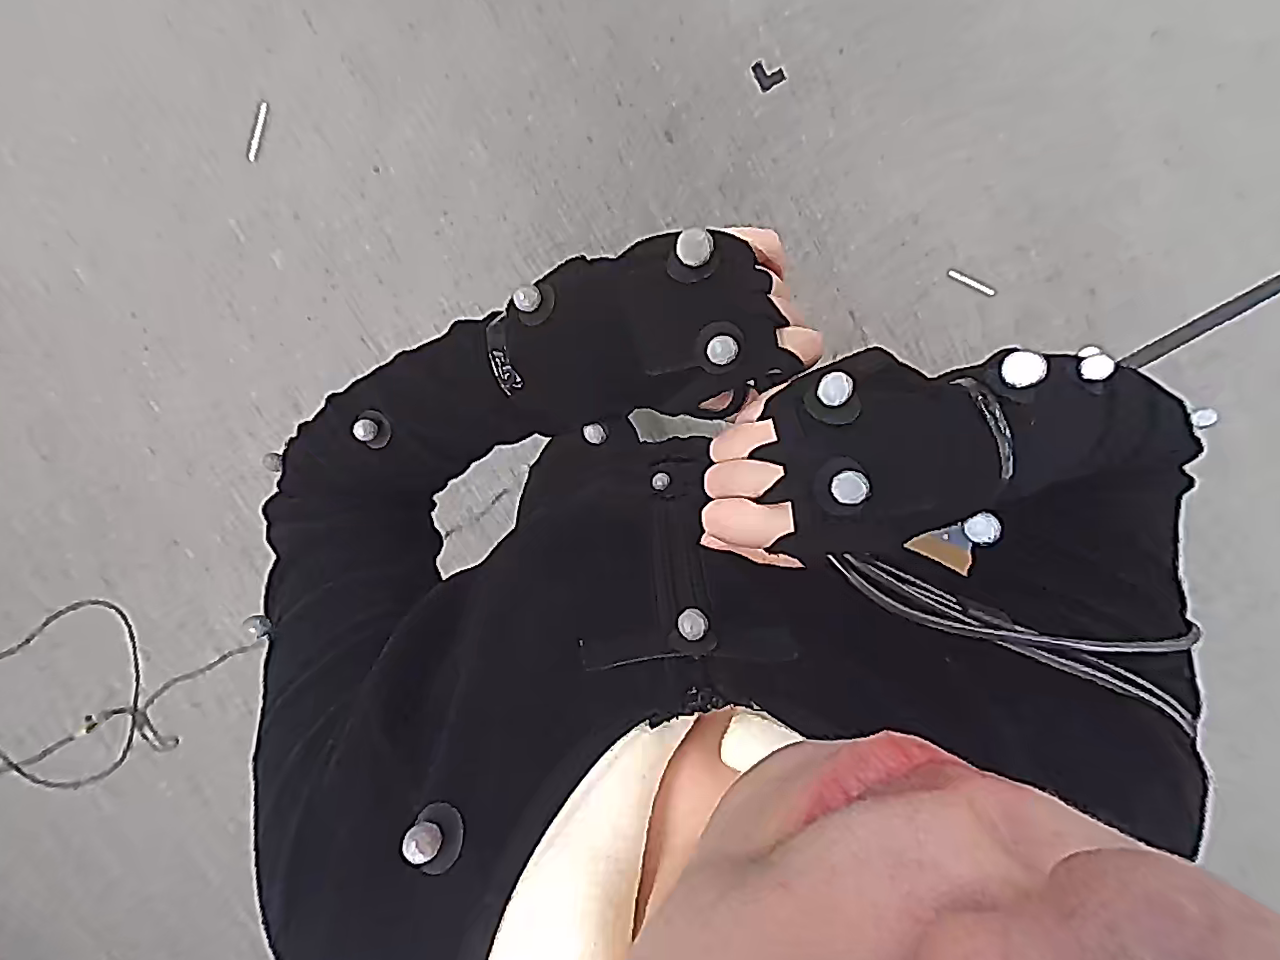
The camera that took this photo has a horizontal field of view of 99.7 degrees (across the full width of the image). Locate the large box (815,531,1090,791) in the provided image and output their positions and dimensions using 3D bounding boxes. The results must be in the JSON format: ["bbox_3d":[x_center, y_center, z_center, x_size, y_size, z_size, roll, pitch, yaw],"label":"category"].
[{"bbox_3d":[0.684,0.387,1.243,0.320,0.320,0.408,-37,99,3],"label":"large box"}]
